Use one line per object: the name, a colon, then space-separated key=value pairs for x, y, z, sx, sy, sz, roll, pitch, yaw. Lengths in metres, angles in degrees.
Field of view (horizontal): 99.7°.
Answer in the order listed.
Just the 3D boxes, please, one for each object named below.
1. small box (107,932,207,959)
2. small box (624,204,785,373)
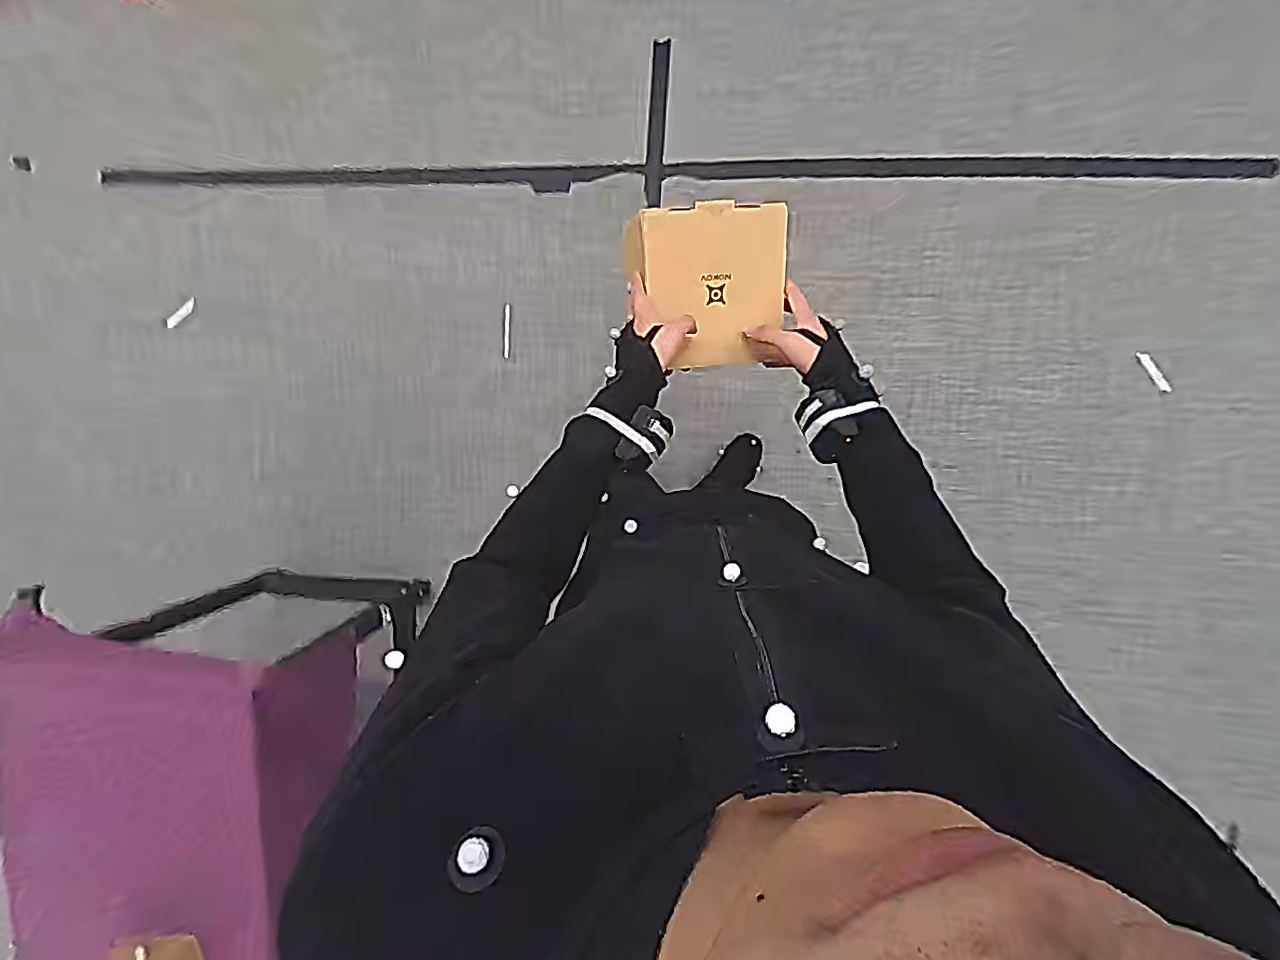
small box: x=-0.985 y=1.040 z=1.059 sx=0.168 sy=0.176 sz=0.179 roll=-7 pitch=96 yaw=7
small box: x=0.073 y=-0.241 z=0.689 sx=0.168 sy=0.176 sz=0.179 roll=-6 pitch=109 yaw=-6
